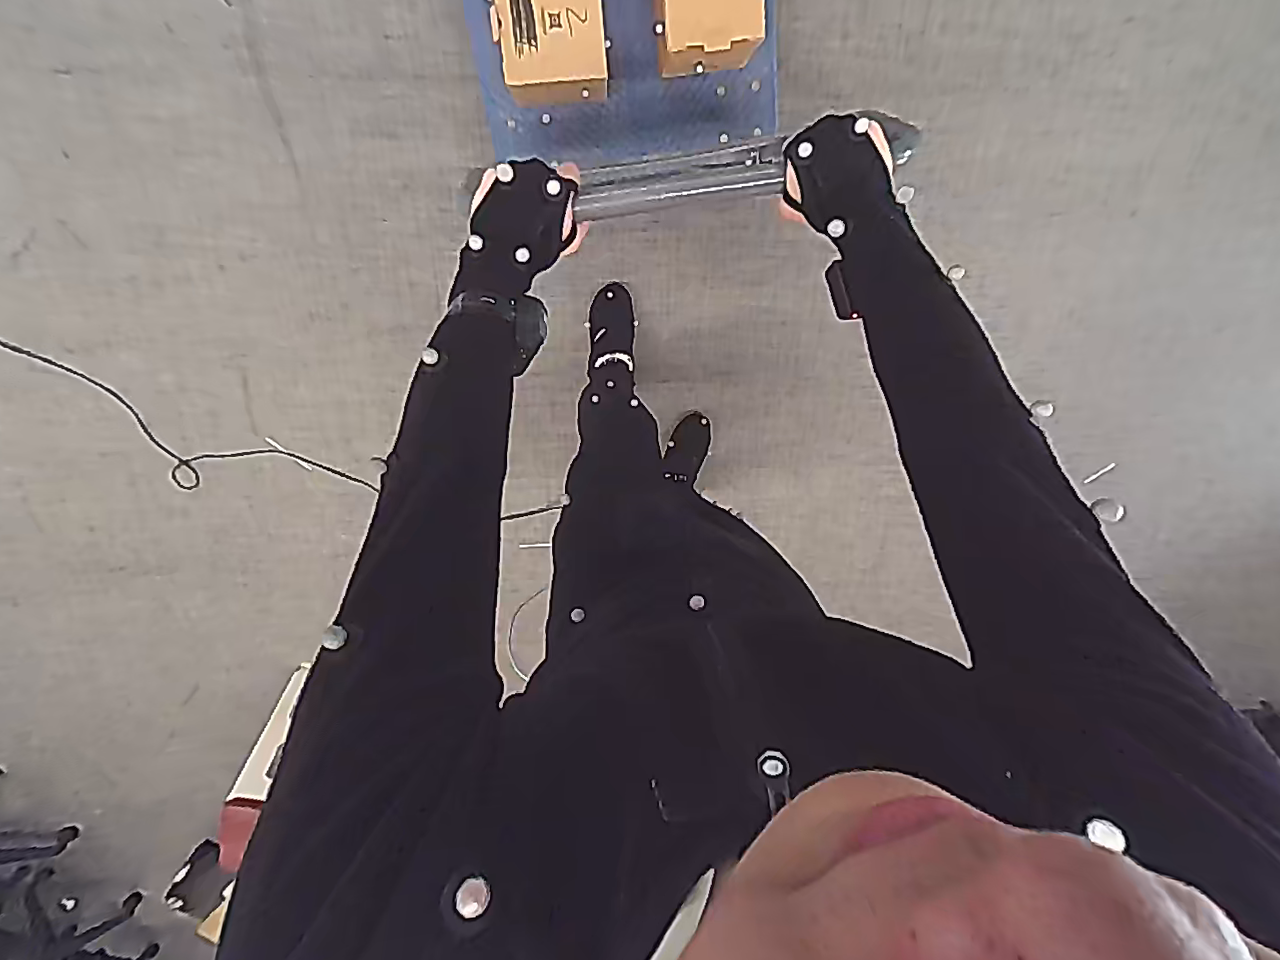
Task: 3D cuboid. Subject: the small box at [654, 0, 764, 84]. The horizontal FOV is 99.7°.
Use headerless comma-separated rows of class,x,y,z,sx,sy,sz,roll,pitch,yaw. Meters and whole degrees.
small box,0.117,-0.841,0.964,0.168,0.176,0.179,-8,114,0
